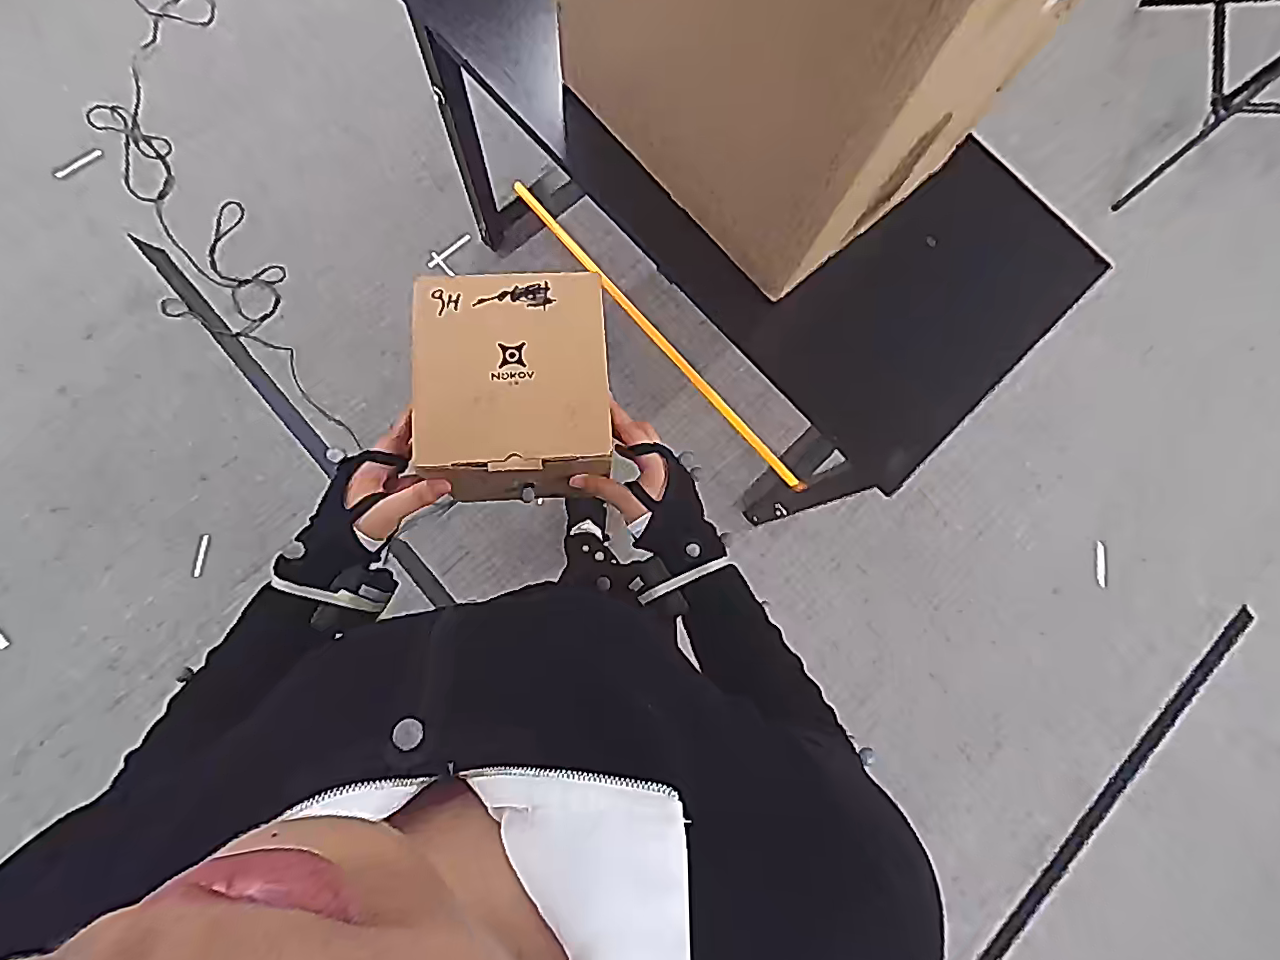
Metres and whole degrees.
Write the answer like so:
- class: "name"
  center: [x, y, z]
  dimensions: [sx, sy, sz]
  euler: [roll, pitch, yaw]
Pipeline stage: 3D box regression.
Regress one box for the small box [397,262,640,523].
- class: "small box"
  center: [-0.092, -0.057, 0.459]
  dimensions: [0.168, 0.176, 0.179]
  euler: [-5, 80, -6]
